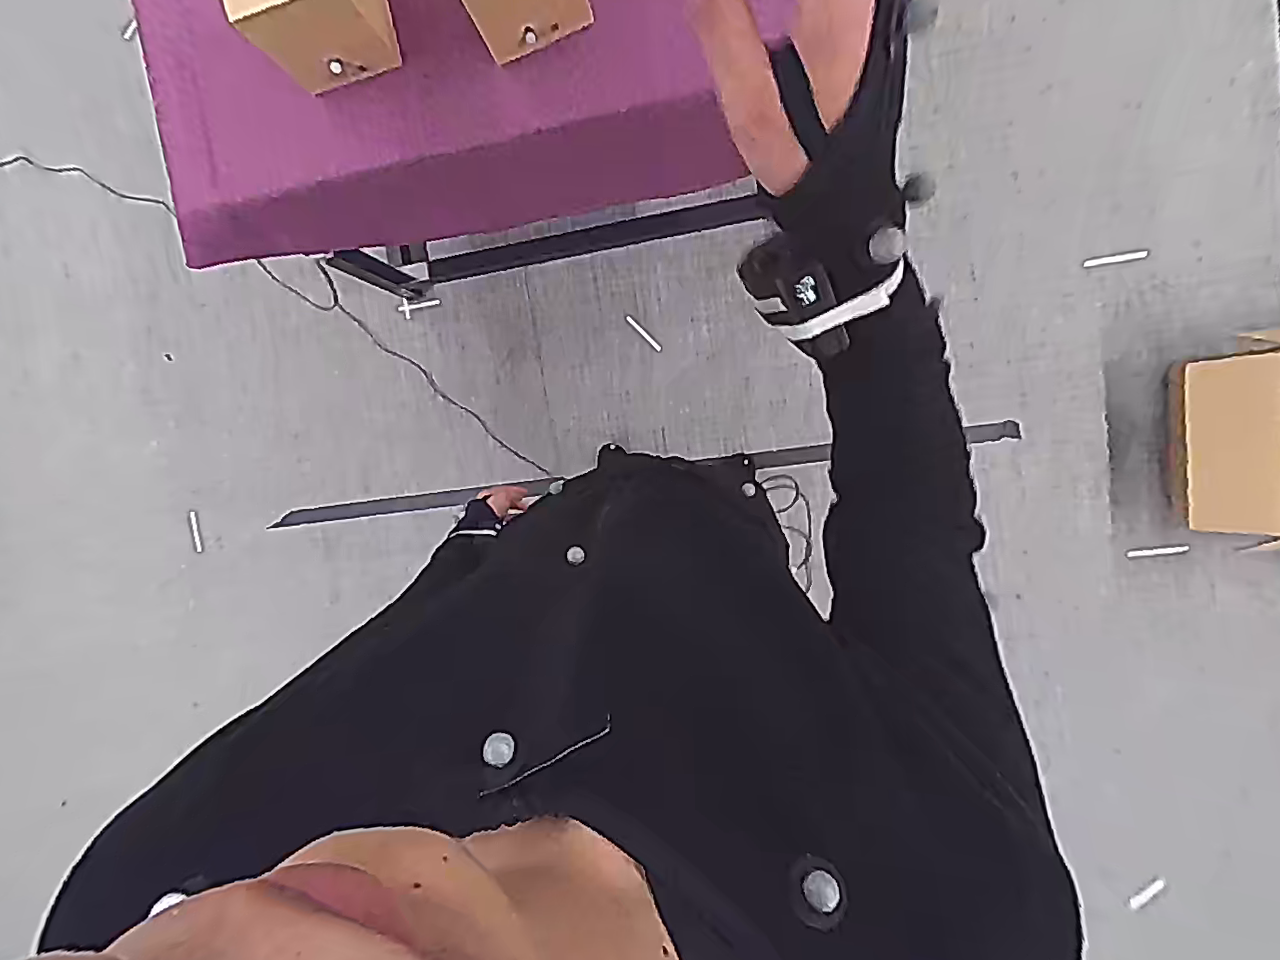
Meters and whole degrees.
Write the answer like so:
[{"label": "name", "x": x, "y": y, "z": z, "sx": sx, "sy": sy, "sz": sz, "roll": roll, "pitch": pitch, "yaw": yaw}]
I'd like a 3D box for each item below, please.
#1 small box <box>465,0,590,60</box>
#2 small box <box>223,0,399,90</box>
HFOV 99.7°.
[{"label": "small box", "x": -0.186, "y": -0.758, "z": 0.761, "sx": 0.168, "sy": 0.176, "sz": 0.179, "roll": -19, "pitch": 93, "yaw": 9}, {"label": "small box", "x": -0.489, "y": -0.732, "z": 0.797, "sx": 0.168, "sy": 0.176, "sz": 0.179, "roll": -12, "pitch": 95, "yaw": 8}]
